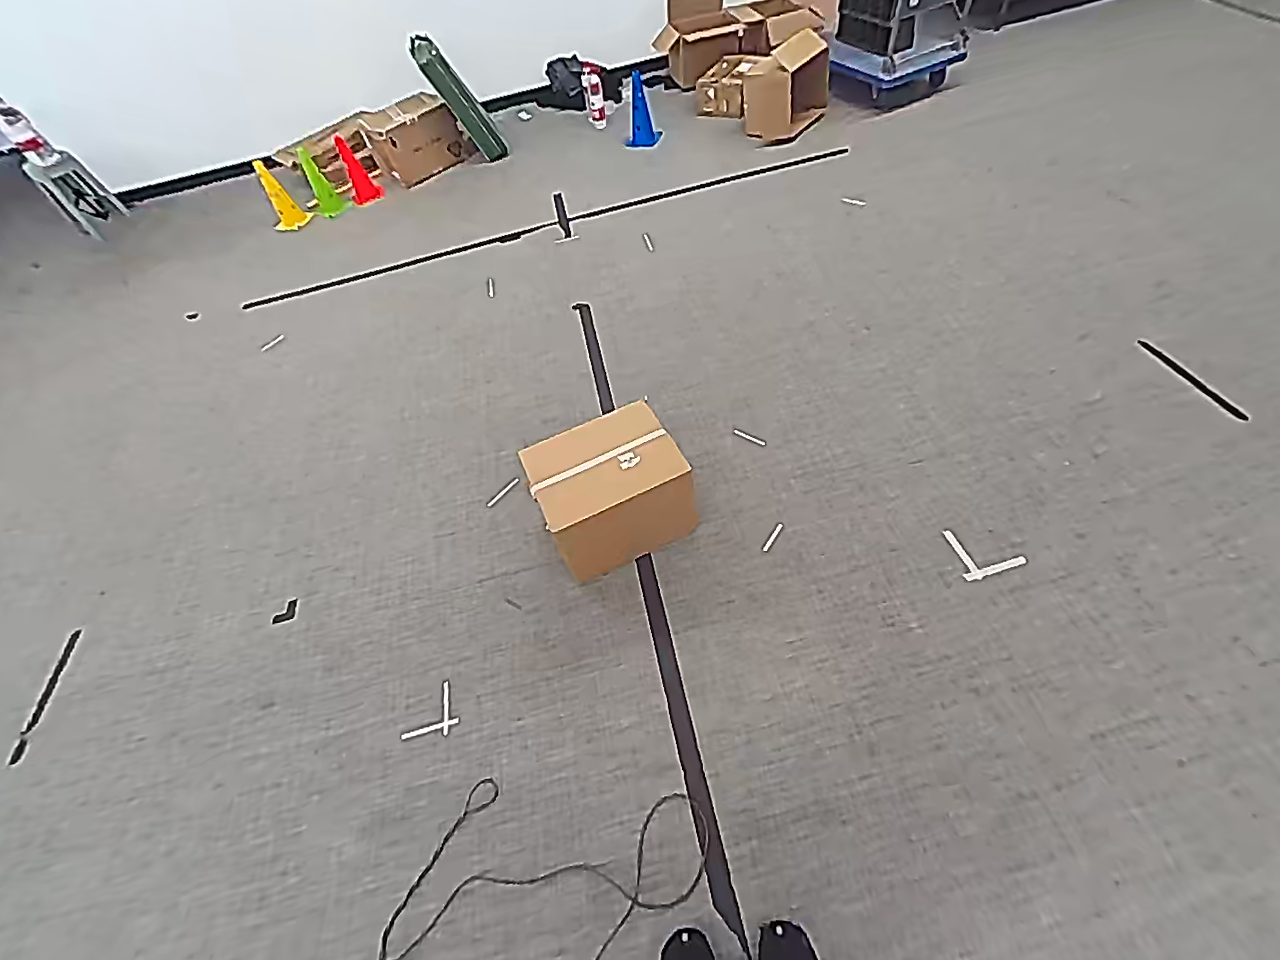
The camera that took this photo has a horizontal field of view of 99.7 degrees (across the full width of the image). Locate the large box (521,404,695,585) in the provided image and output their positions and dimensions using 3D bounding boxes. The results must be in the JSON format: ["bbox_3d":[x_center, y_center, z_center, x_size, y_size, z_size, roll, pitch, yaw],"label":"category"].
[{"bbox_3d":[-0.086,0.045,1.606,0.408,0.320,0.320,-24,54,-9],"label":"large box"}]
